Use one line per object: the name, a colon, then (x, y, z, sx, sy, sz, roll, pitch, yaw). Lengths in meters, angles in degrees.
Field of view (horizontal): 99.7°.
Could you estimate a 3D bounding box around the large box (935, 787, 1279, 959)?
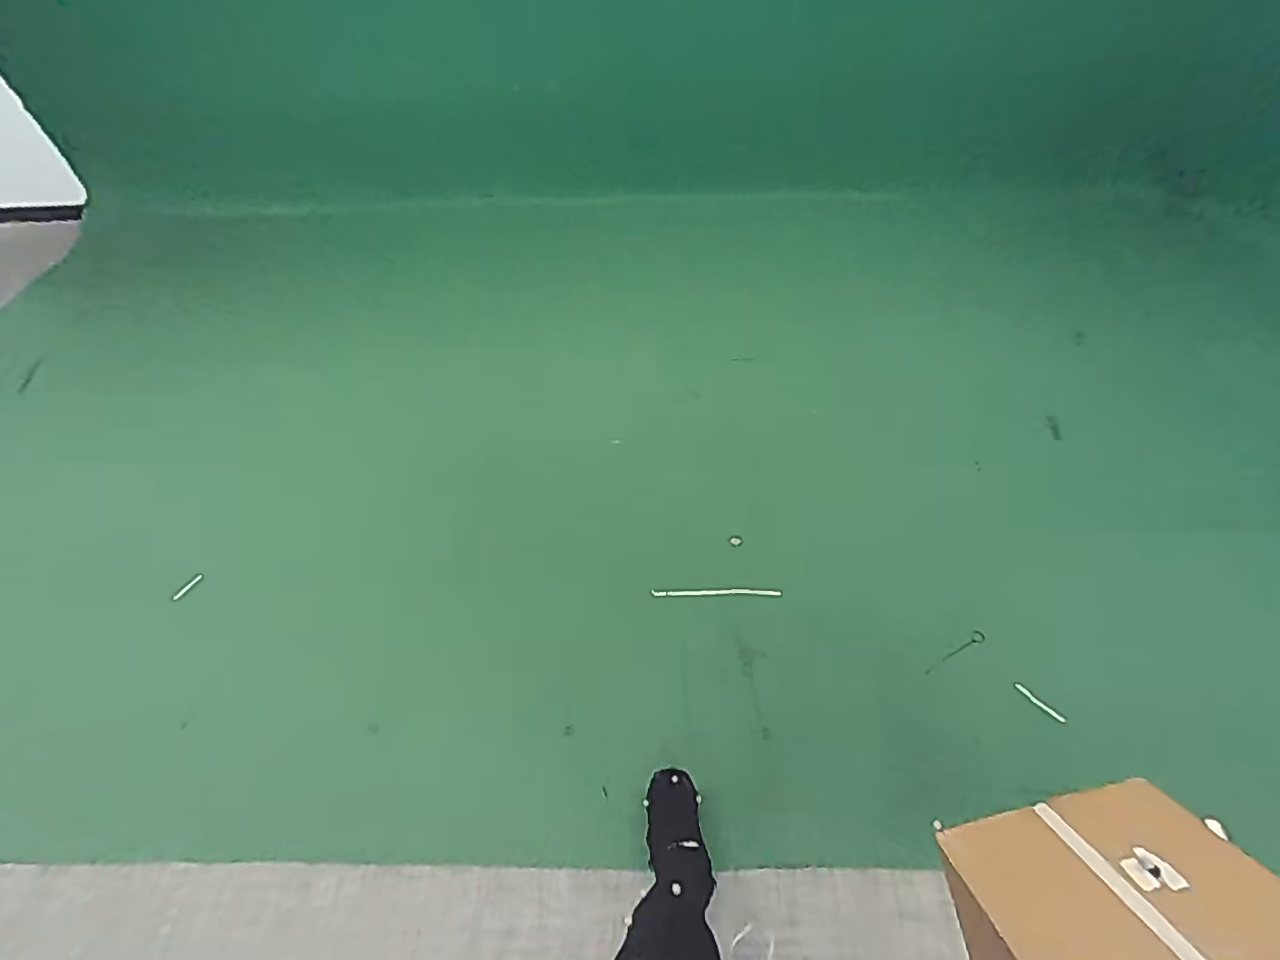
large box: (0.630, 0.658, 0.621, 0.320, 0.408, 0.320, -17, 95, 3)
